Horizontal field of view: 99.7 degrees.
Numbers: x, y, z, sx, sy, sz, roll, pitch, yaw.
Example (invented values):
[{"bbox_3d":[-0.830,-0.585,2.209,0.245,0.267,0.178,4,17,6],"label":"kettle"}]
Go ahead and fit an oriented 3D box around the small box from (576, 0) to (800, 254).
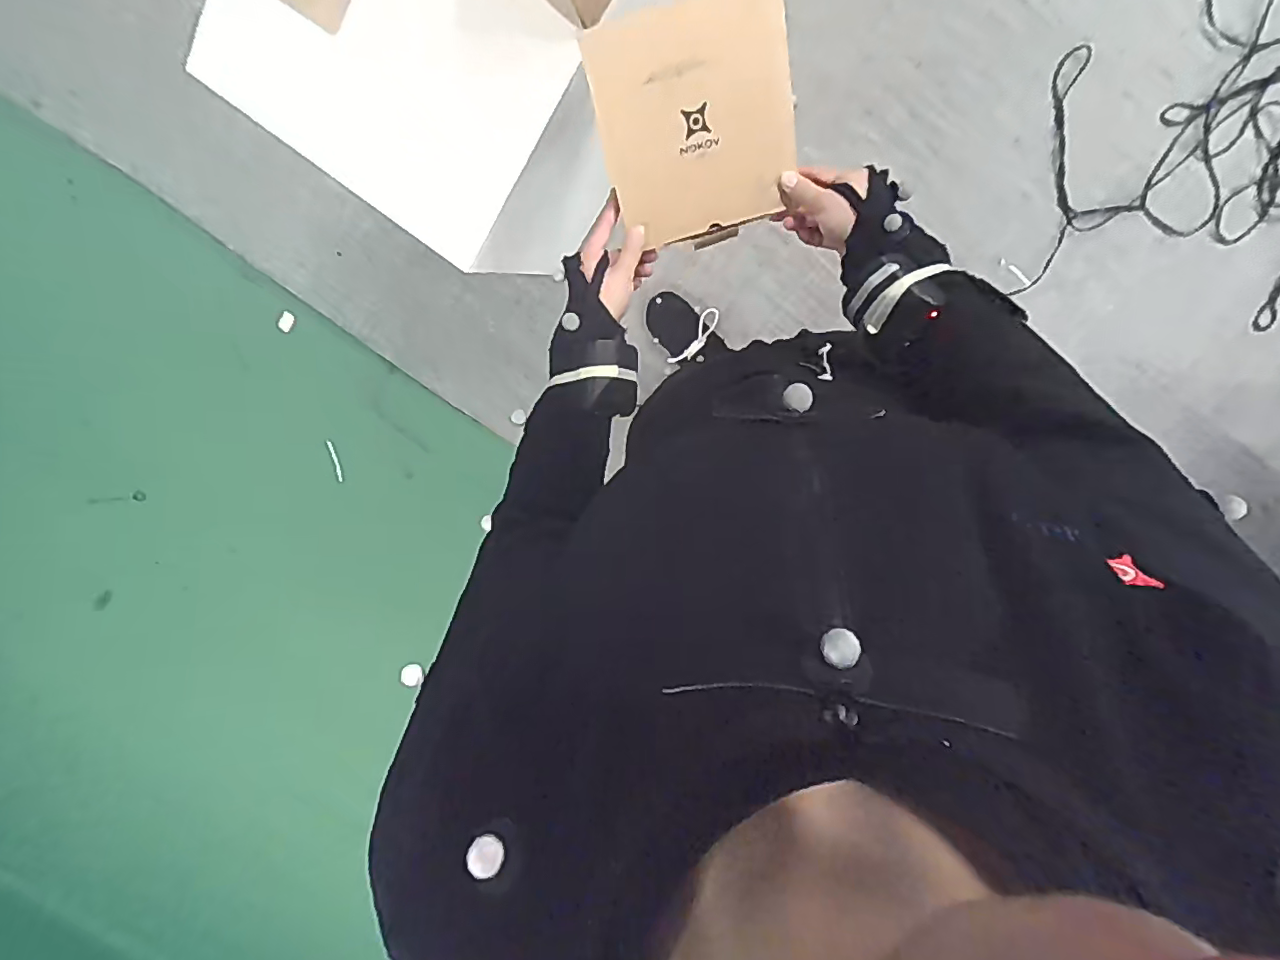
[{"bbox_3d":[0.049,-0.346,0.529,0.168,0.176,0.179,-13,121,8],"label":"small box"}]
